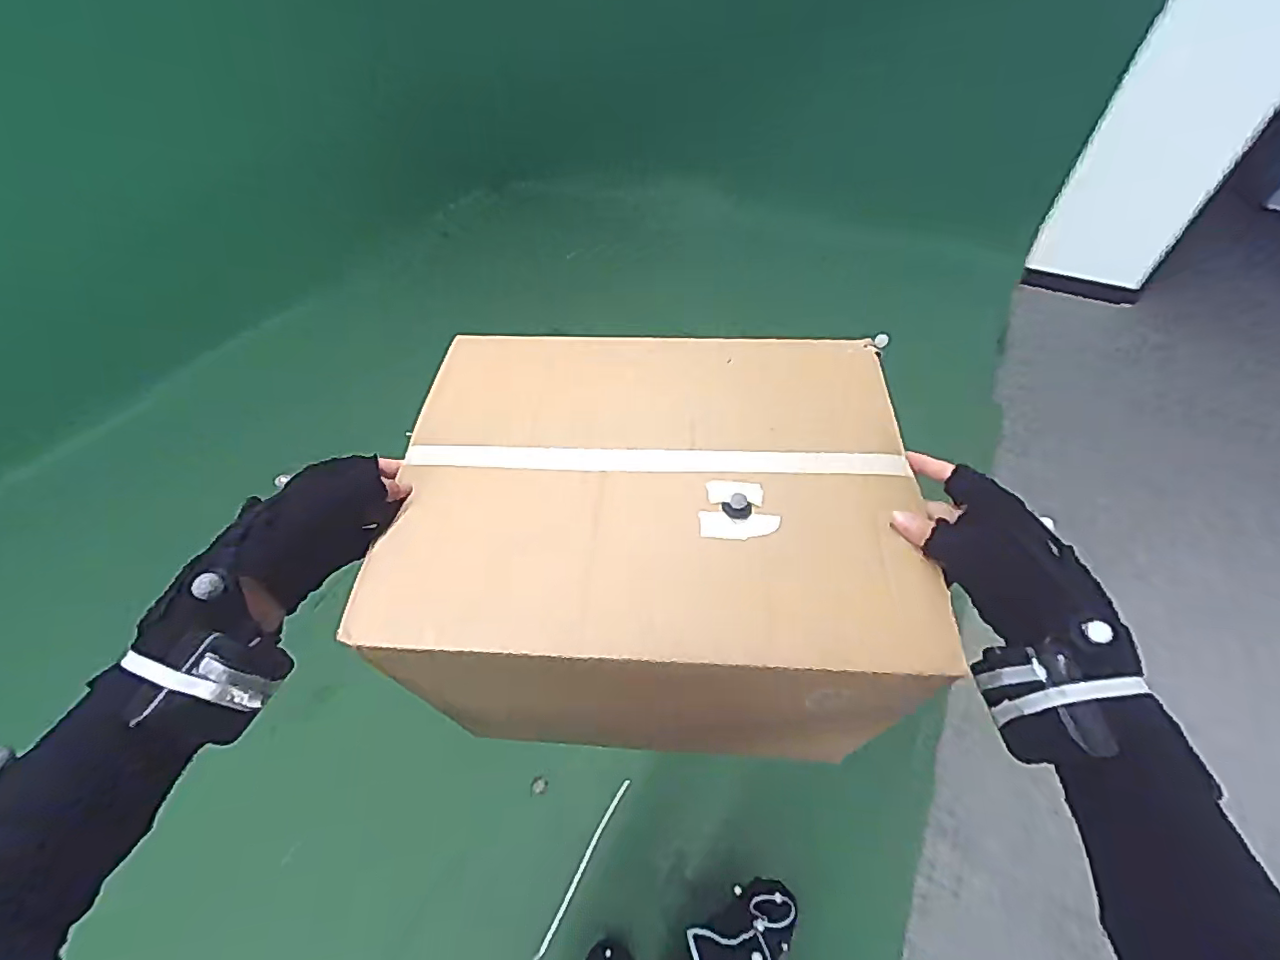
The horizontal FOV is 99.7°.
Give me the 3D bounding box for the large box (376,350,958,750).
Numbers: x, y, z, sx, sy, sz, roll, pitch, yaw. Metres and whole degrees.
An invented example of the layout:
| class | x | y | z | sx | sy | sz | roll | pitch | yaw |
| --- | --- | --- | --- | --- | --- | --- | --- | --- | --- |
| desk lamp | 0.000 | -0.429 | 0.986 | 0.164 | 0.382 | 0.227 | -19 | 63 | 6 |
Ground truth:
| class | x | y | z | sx | sy | sz | roll | pitch | yaw |
| --- | --- | --- | --- | --- | --- | --- | --- | --- | --- |
| large box | 0.025 | 0.081 | 0.569 | 0.408 | 0.320 | 0.320 | 1 | 55 | 5 |
